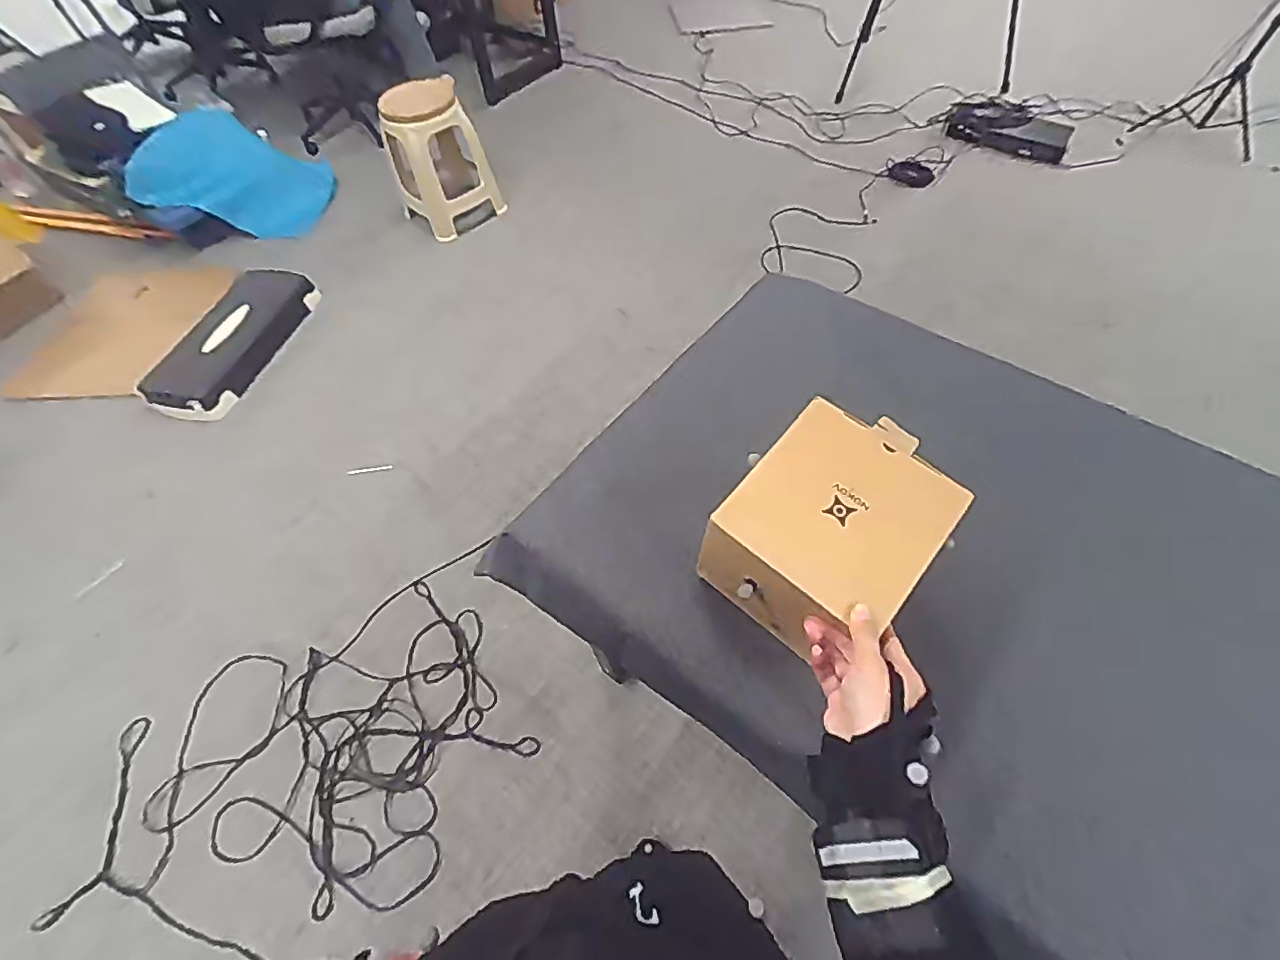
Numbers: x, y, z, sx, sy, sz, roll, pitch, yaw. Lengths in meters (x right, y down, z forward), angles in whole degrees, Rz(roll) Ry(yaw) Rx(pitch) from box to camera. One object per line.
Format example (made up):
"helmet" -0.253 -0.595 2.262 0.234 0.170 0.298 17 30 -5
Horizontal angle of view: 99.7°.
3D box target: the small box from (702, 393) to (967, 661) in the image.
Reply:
"small box" 0.176 0.055 0.545 0.168 0.176 0.179 38 68 19
